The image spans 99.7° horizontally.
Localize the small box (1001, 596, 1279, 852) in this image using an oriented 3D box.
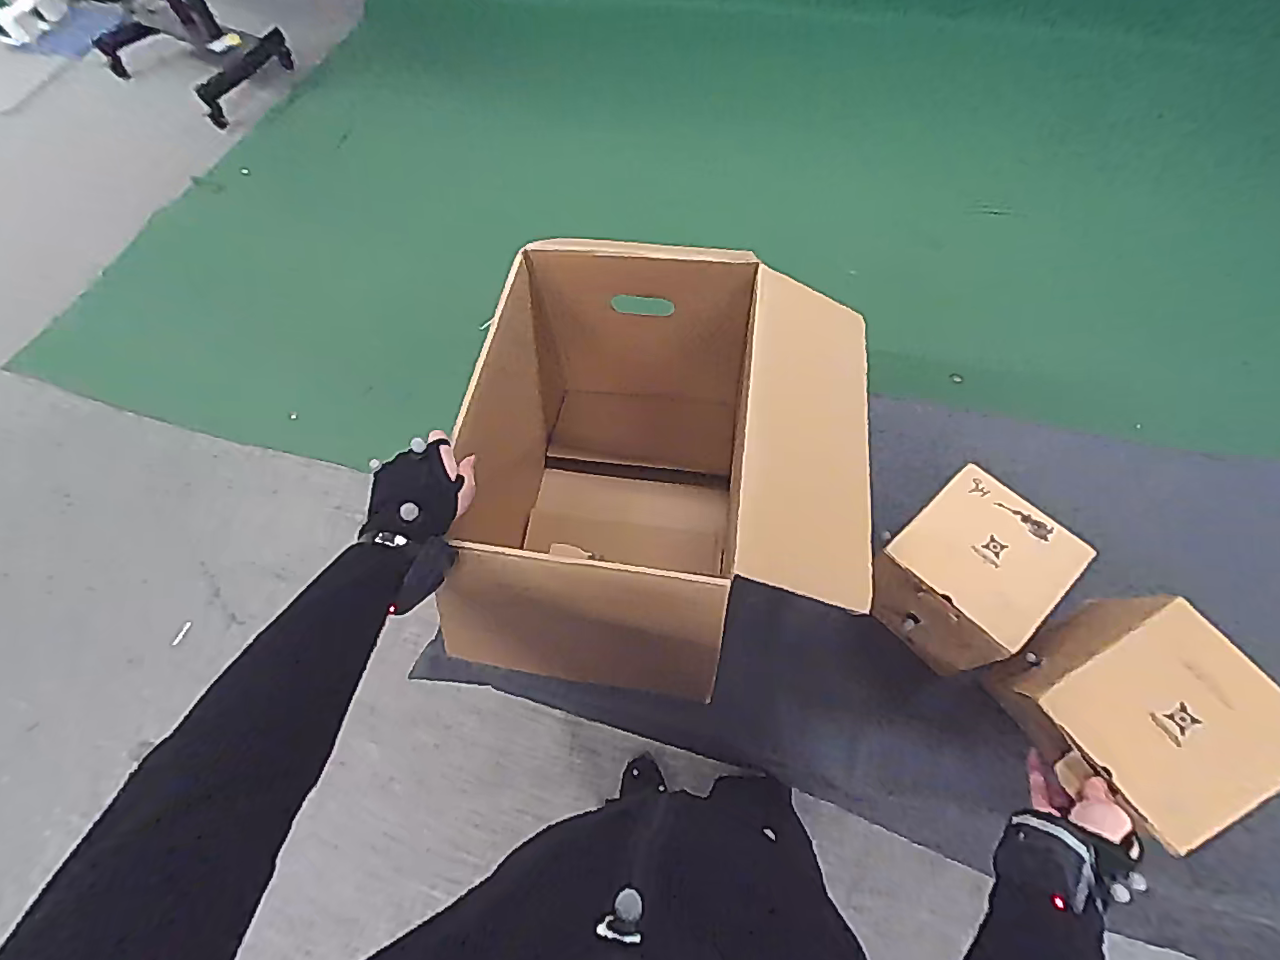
[{"bbox_3d":[0.534,0.245,0.585,0.179,0.176,0.168,-38,71,3],"label":"small box"}]
